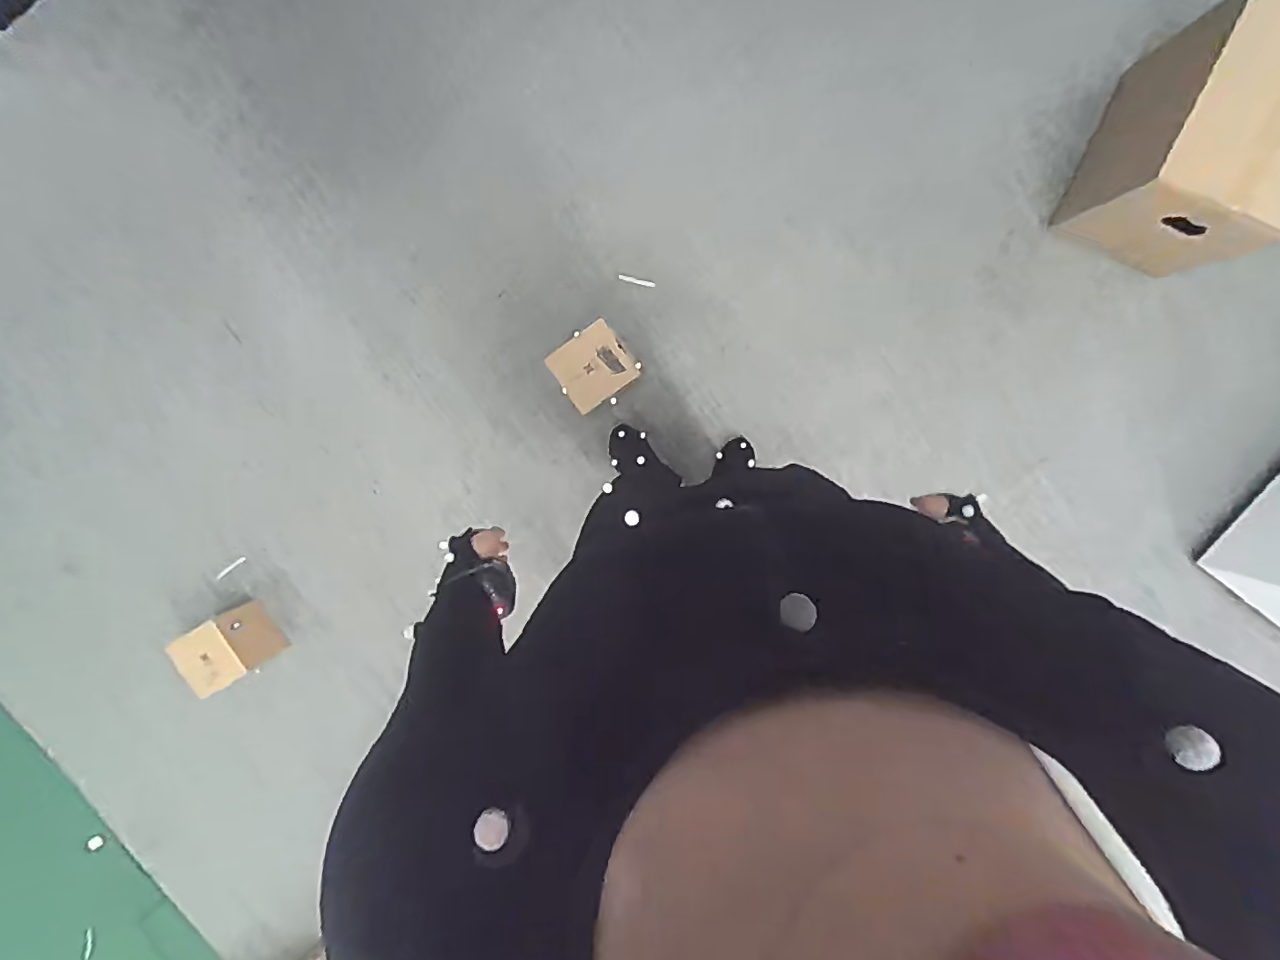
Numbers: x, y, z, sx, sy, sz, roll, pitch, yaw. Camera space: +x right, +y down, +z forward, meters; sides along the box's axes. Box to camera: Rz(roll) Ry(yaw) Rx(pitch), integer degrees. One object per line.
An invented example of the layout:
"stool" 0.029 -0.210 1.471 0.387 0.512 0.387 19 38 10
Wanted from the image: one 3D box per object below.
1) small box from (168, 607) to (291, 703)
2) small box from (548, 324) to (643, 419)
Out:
"small box" -1.130 0.473 1.502 0.168 0.176 0.179 -30 95 6
"small box" -0.108 -0.273 1.384 0.179 0.176 0.168 -34 94 6
